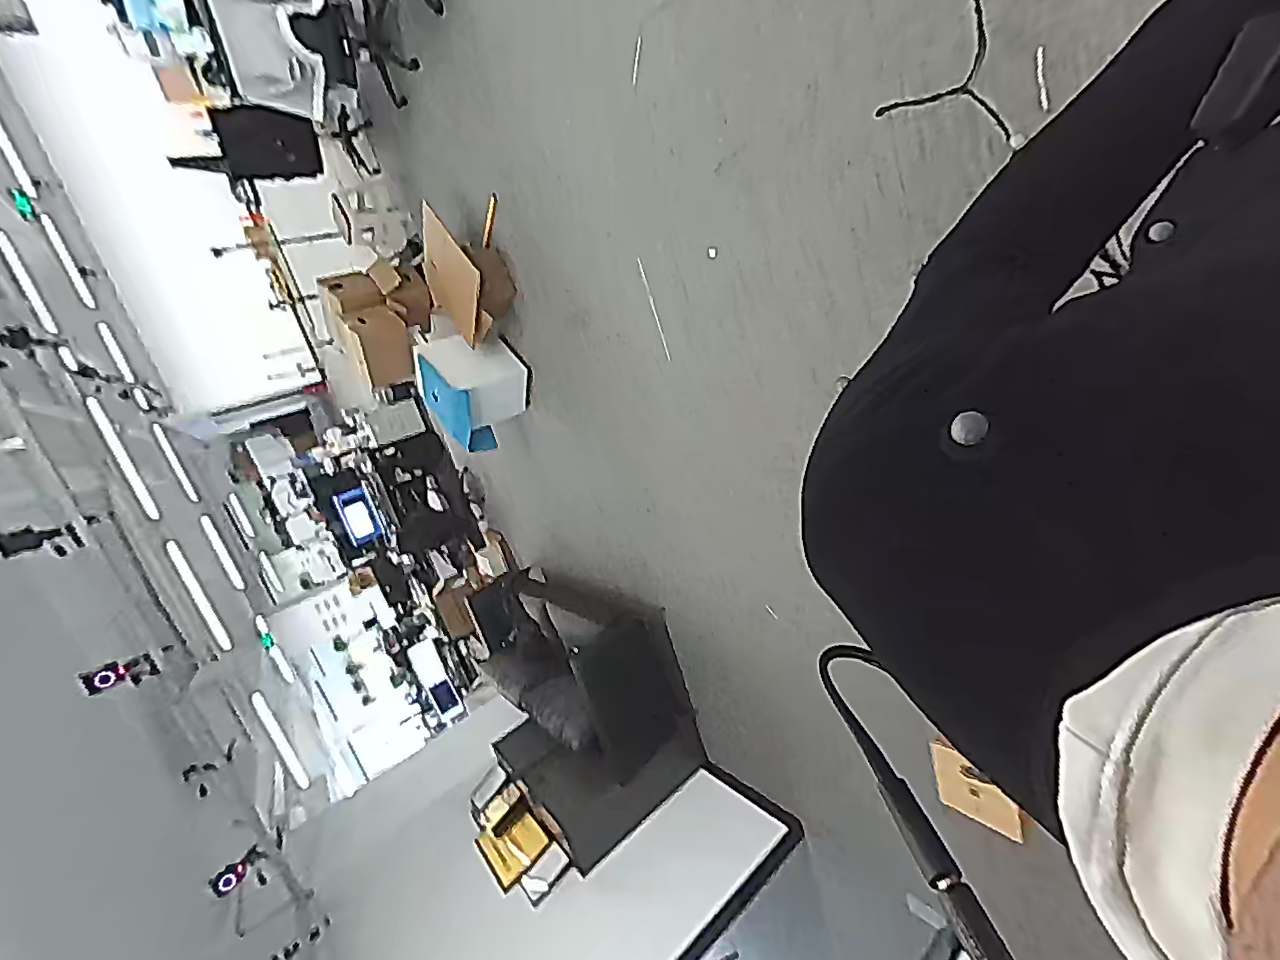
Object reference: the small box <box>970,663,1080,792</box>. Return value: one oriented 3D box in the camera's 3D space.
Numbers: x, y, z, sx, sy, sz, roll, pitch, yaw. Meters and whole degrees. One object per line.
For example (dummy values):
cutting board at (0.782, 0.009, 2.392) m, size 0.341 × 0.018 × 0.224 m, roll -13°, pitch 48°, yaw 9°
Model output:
small box at (0.898, 0.568, 1.262) m, size 0.168 × 0.176 × 0.179 m, roll 13°, pitch 121°, yaw 53°

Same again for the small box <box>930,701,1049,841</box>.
small box at (0.765, 0.621, 1.181) m, size 0.168 × 0.176 × 0.179 m, roll 5°, pitch 116°, yaw 55°

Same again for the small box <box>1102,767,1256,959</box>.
small box at (0.940, 0.654, 0.943) m, size 0.168 × 0.176 × 0.179 m, roll 5°, pitch 116°, yaw 54°
